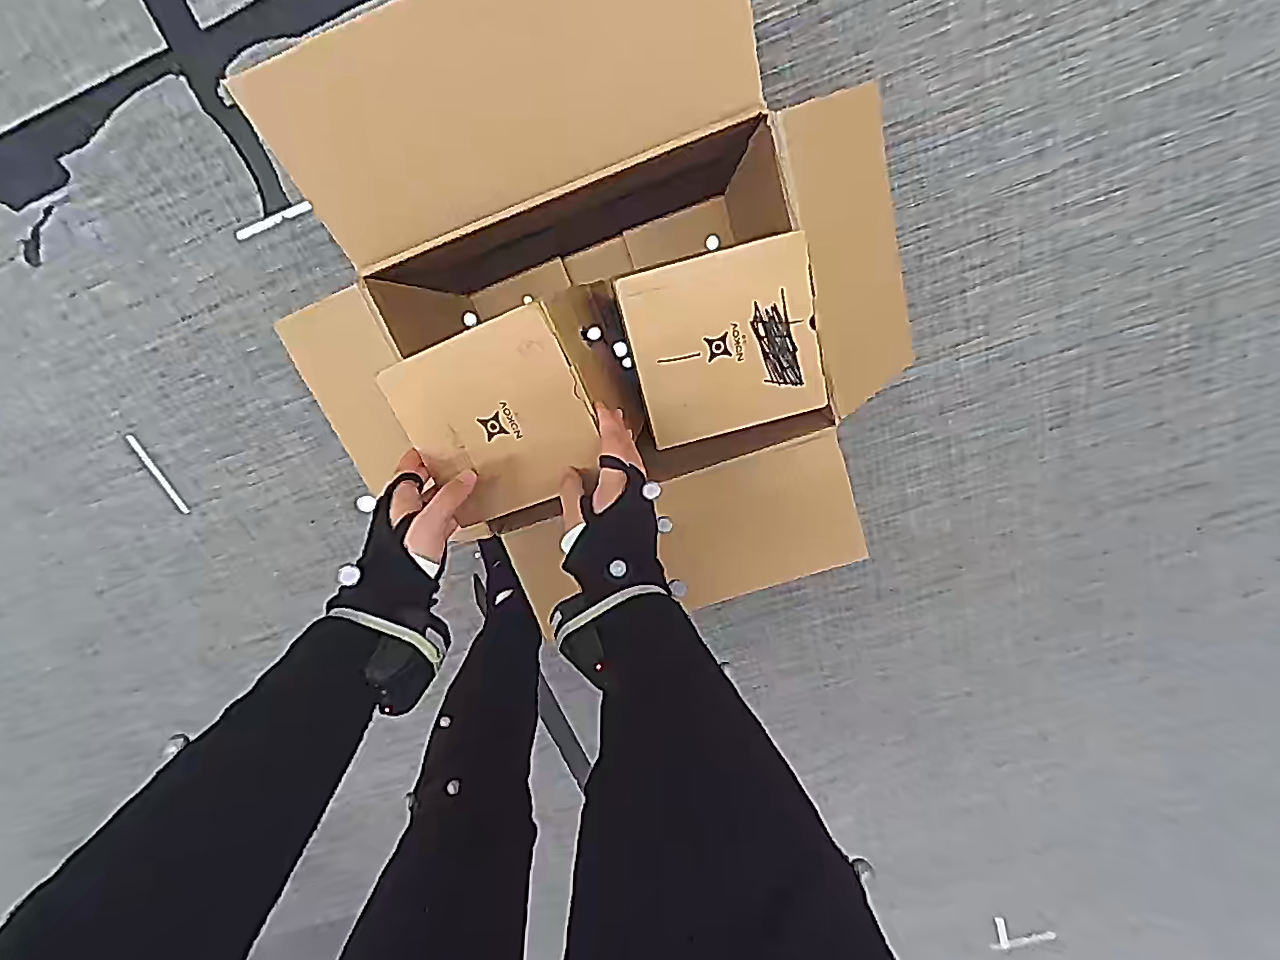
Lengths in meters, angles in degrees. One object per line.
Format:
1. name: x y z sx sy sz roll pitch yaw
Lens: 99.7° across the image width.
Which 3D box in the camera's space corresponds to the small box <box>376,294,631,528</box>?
1. small box: -0.118 -0.079 0.558 0.179 0.176 0.168 -18 109 16
